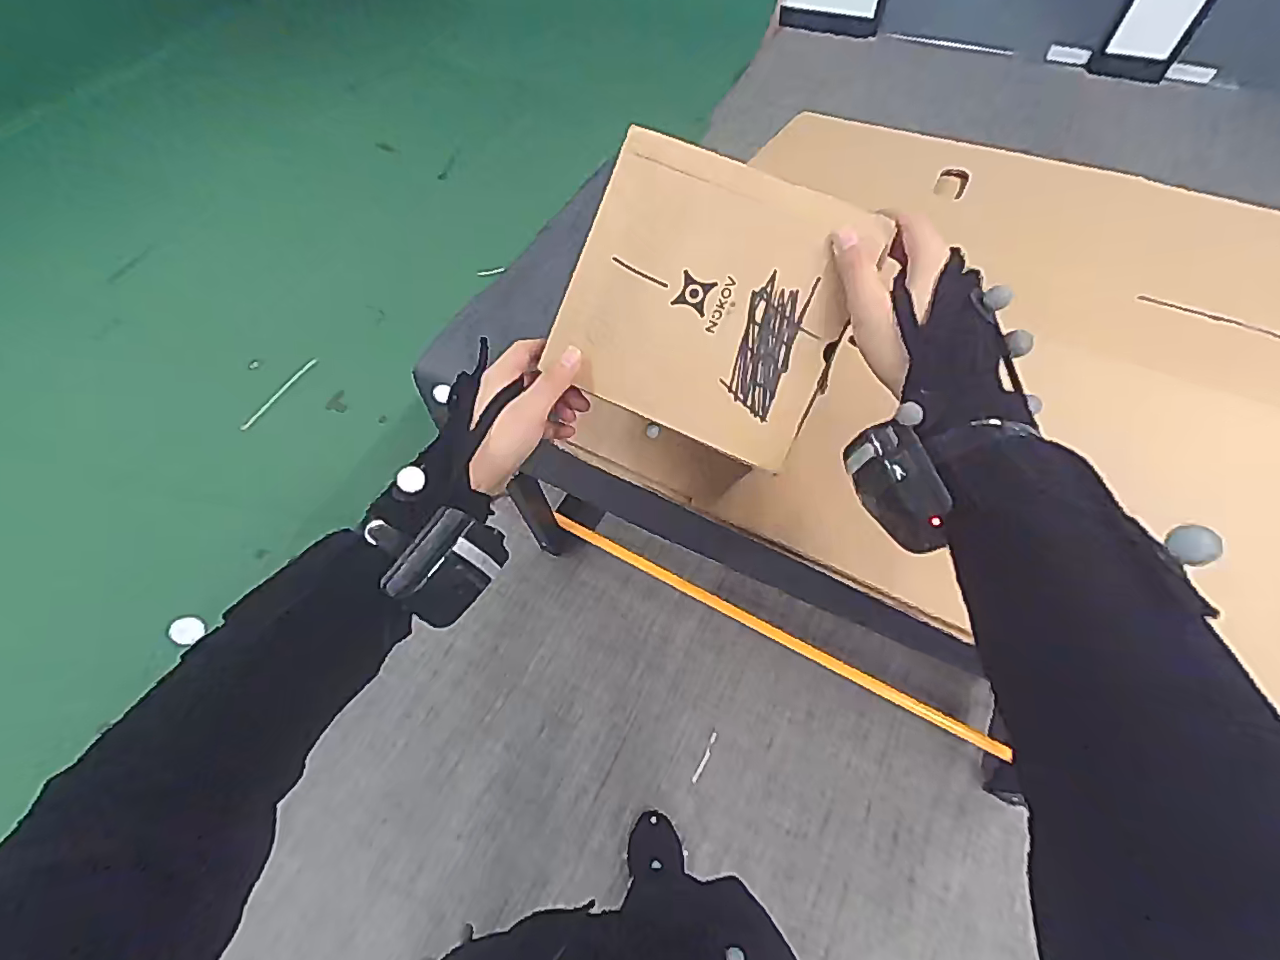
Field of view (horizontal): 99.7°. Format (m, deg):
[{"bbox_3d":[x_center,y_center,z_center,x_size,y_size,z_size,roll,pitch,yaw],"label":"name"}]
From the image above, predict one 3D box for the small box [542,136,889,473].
[{"bbox_3d":[0.056,-0.120,0.426,0.179,0.176,0.168,25,98,8],"label":"small box"}]
